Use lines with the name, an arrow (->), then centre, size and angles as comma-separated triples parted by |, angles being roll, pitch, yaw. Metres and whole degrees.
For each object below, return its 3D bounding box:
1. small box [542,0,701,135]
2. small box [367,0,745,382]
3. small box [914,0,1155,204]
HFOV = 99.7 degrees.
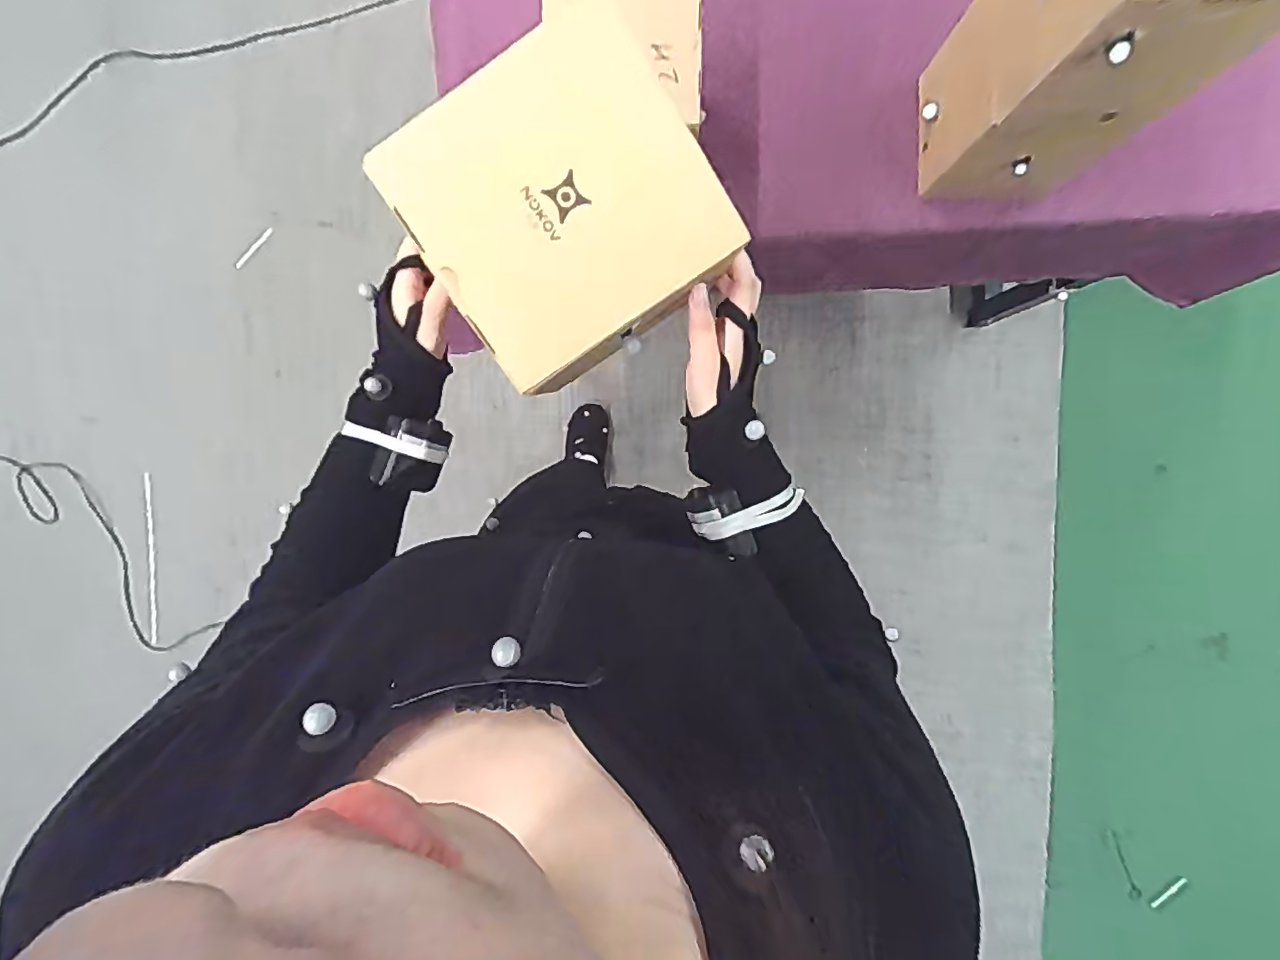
small box -> -0.020, -0.463, 0.670 | 0.179, 0.176, 0.168 | 1, 92, 1
small box -> -0.051, -0.189, 0.404 | 0.179, 0.176, 0.168 | -32, 99, 5
small box -> 0.467, -0.460, 0.663 | 0.179, 0.176, 0.168 | 0, 91, 2
